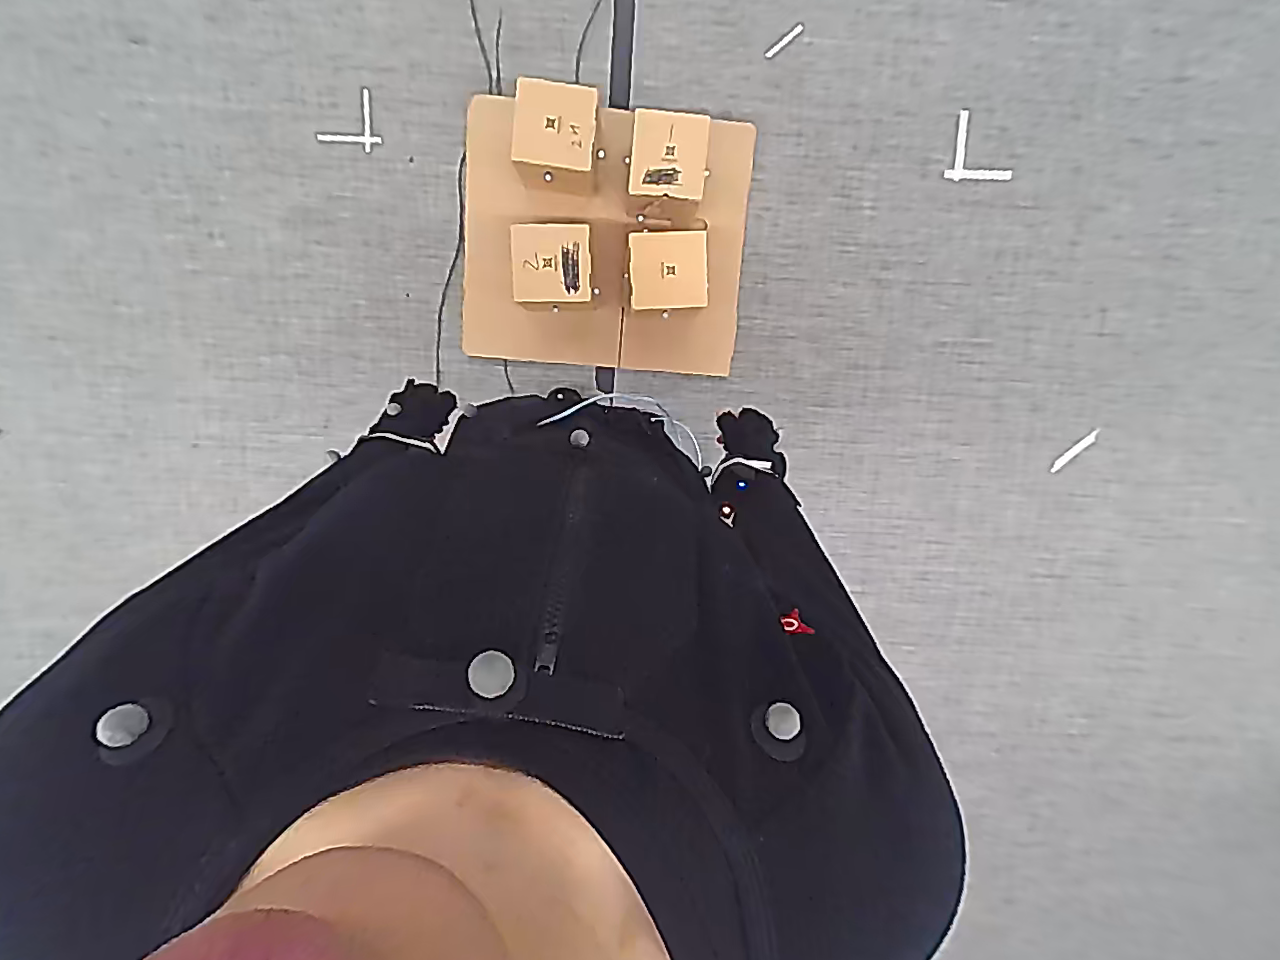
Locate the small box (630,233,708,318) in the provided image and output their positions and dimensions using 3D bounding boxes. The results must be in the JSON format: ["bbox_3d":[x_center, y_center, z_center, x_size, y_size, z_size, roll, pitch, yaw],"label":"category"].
[{"bbox_3d":[0.066,-0.487,1.303,0.179,0.176,0.168,-2,100,0],"label":"small box"}]

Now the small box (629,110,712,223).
[{"bbox_3d":[0.065,-0.719,1.260,0.168,0.176,0.179,5,99,-2],"label":"small box"}]

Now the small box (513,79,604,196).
[{"bbox_3d":[-0.180,-0.772,1.238,0.179,0.176,0.168,7,100,-4],"label":"small box"}]
